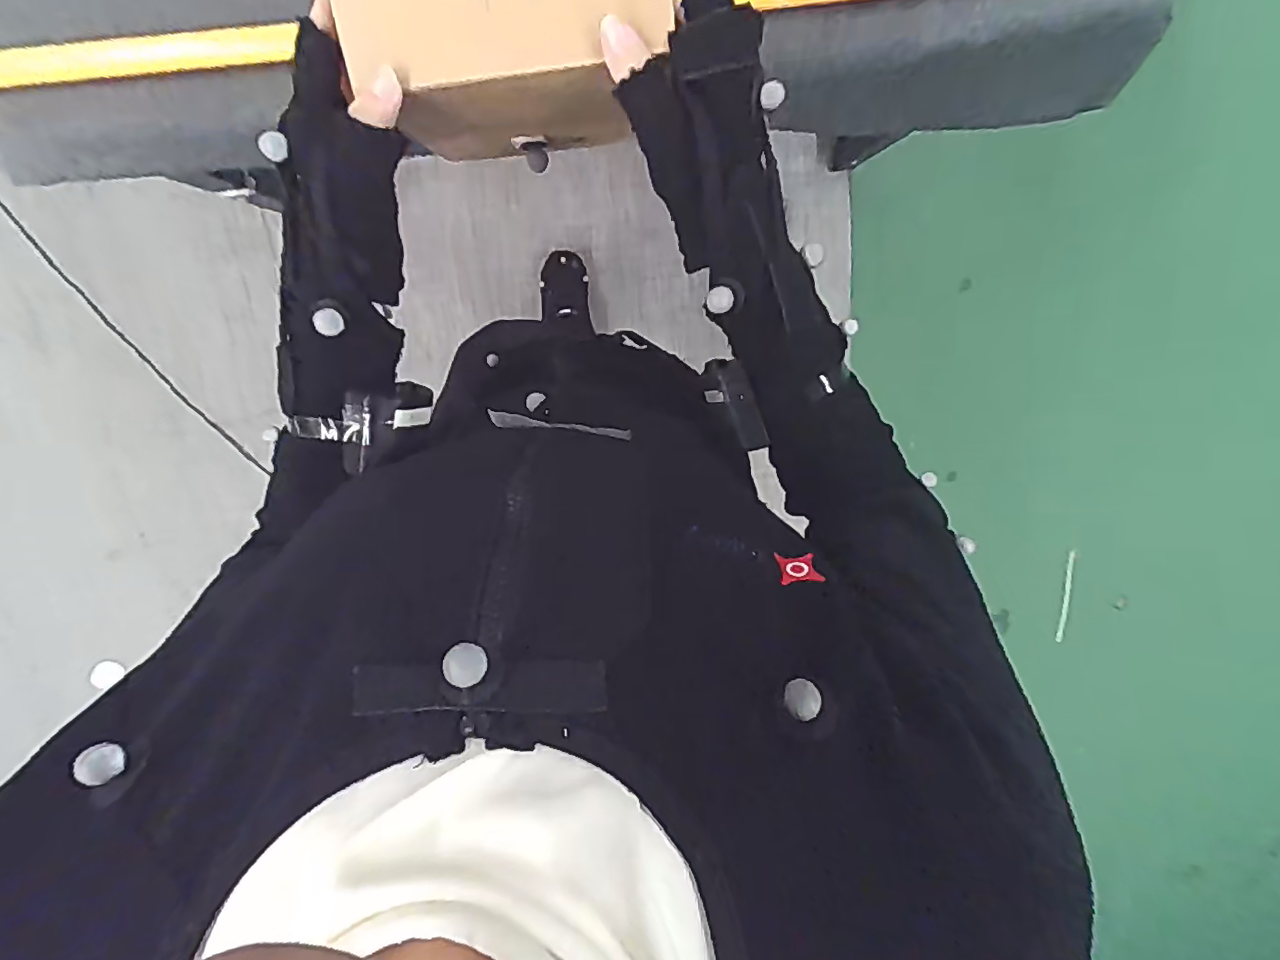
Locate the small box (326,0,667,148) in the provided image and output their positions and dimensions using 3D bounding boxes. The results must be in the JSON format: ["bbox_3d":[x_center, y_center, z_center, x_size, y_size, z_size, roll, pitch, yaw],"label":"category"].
[{"bbox_3d":[-0.078,-0.321,0.315,0.168,0.176,0.179,-6,110,2],"label":"small box"}]
